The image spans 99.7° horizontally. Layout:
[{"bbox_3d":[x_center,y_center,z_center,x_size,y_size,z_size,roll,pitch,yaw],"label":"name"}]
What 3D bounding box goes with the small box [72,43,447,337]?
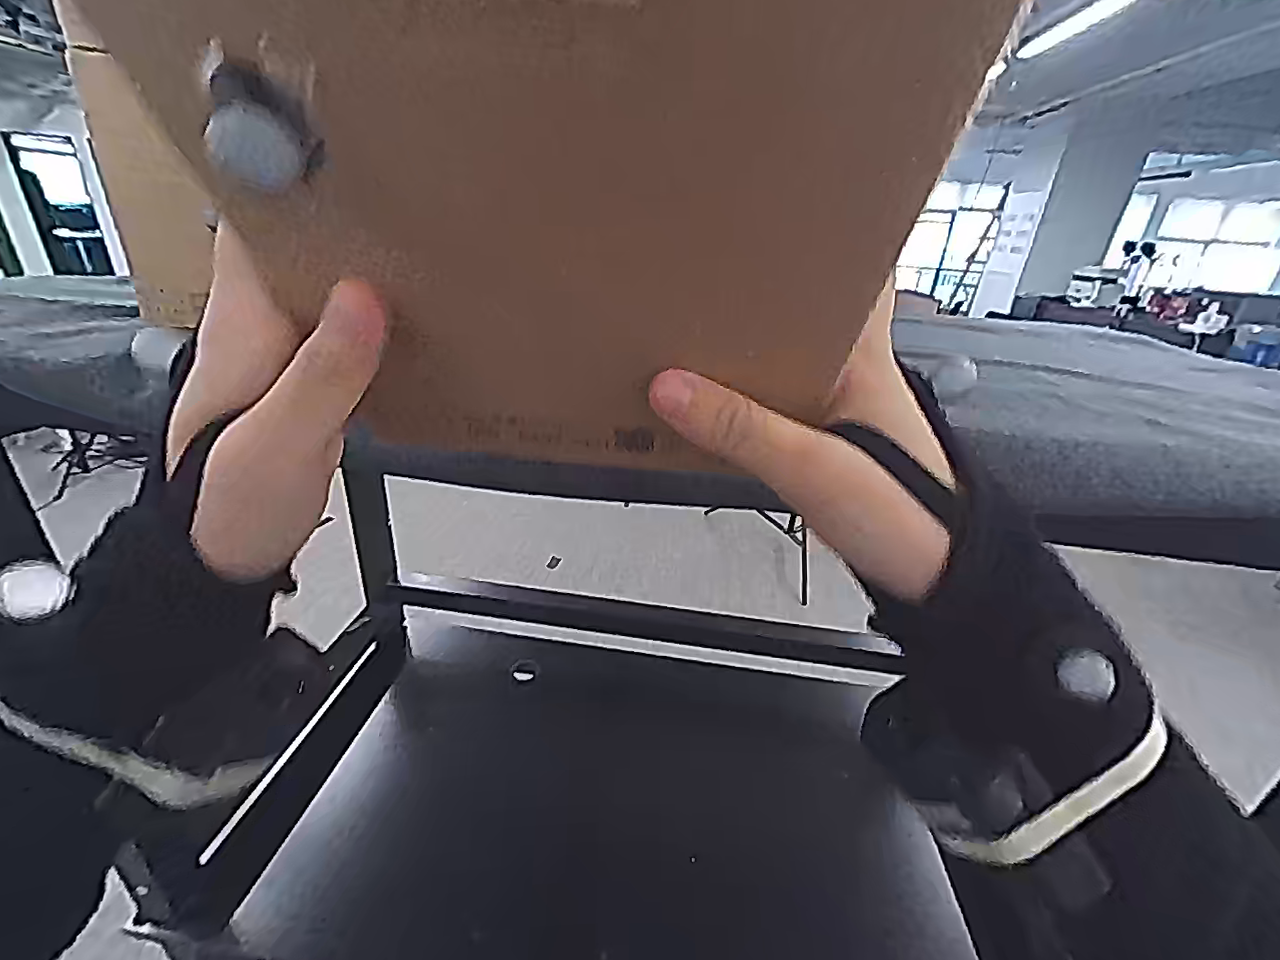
[{"bbox_3d":[-0.265,-0.216,0.434,0.168,0.176,0.179,5,24,0],"label":"small box"}]
